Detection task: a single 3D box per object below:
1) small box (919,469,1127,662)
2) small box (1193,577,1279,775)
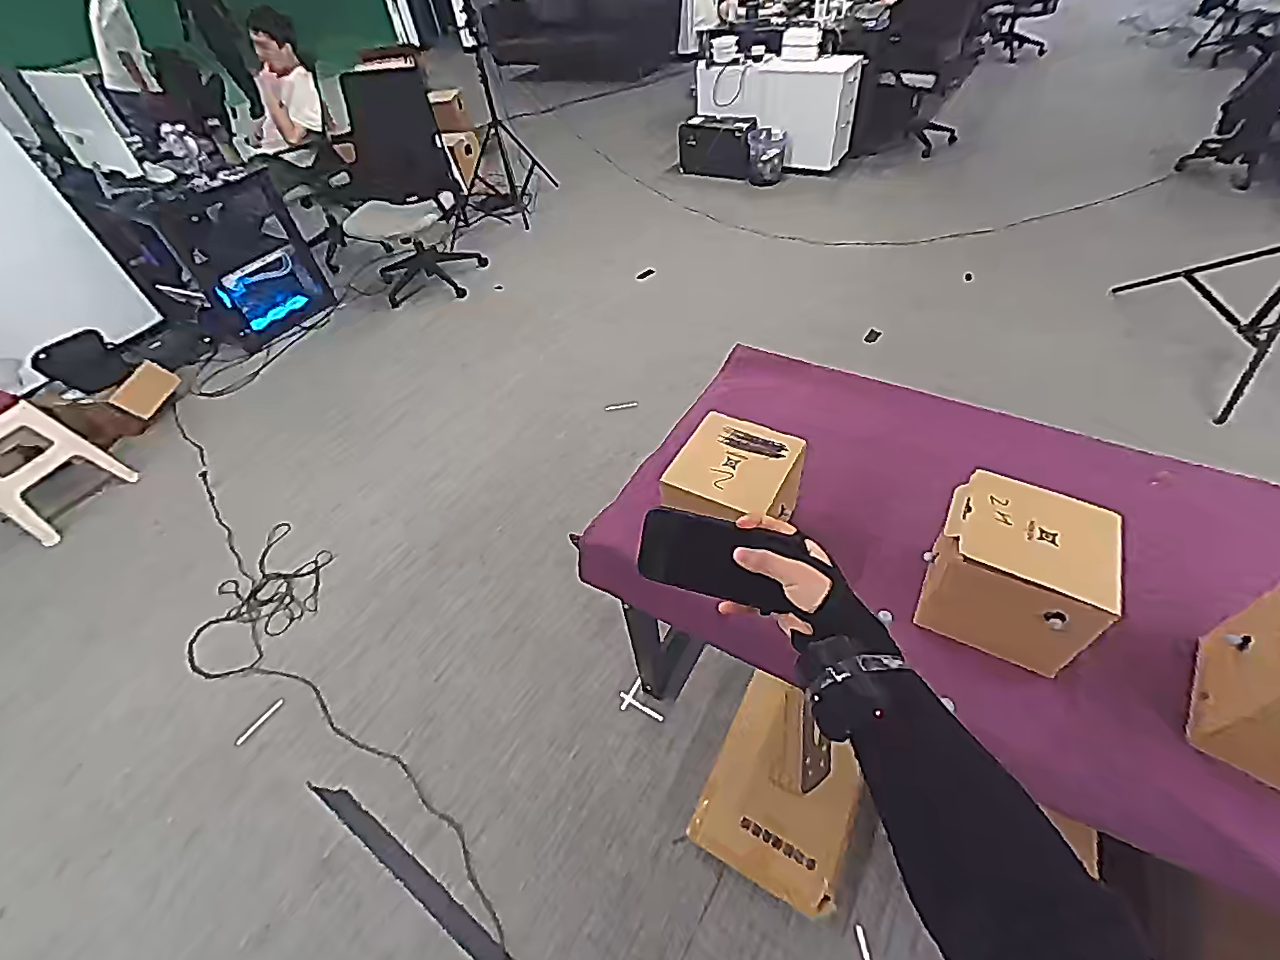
[{"bbox_3d":[0.508,0.119,0.732,0.179,0.176,0.168,20,51,24],"label":"small box"},{"bbox_3d":[0.769,0.237,0.592,0.179,0.176,0.168,27,56,28],"label":"small box"}]
